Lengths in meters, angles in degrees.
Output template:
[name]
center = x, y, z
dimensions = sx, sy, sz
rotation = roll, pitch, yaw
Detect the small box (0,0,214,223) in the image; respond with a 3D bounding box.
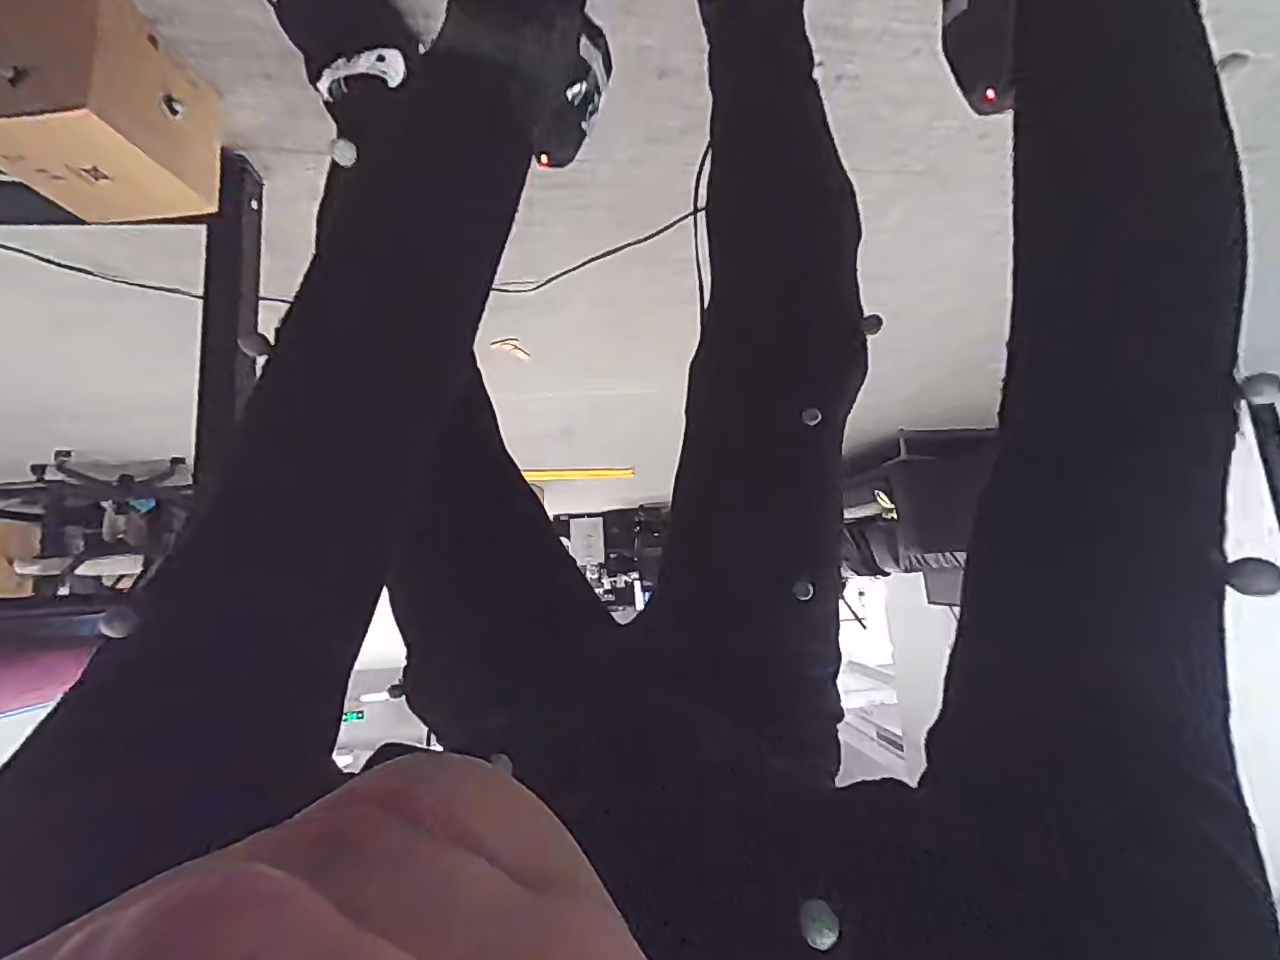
[small box]
center = -0.637, -0.428, 0.621
dimensions = 0.179, 0.176, 0.168
rotation = -4, 171, 1
